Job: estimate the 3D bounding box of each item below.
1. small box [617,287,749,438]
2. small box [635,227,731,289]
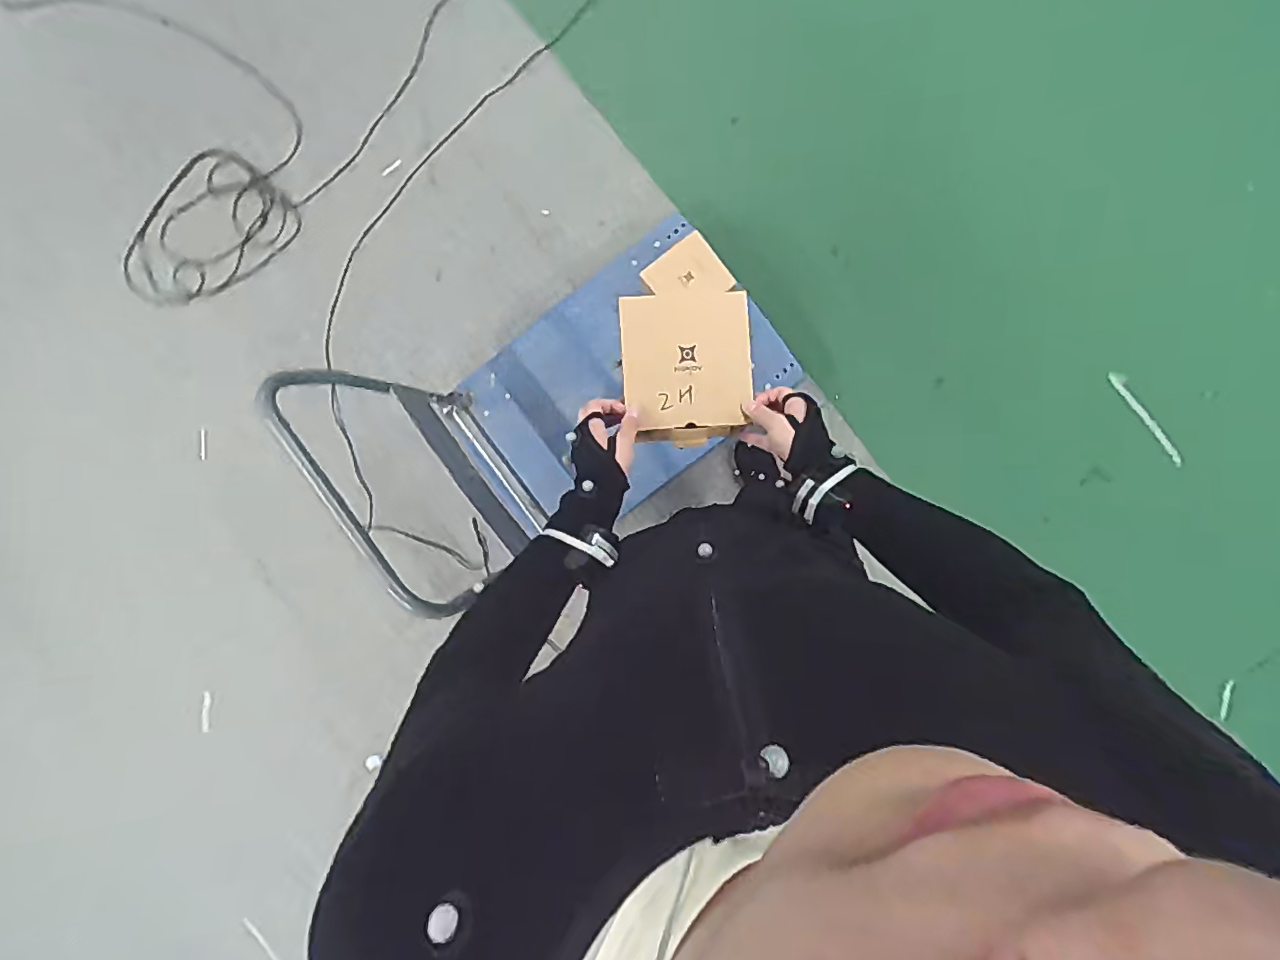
[{"bbox_3d":[0.052,-0.154,0.759,0.168,0.176,0.179,-1,89,-2],"label":"small box"},{"bbox_3d":[0.110,-0.489,1.366,0.179,0.176,0.168,-36,89,5],"label":"small box"}]
